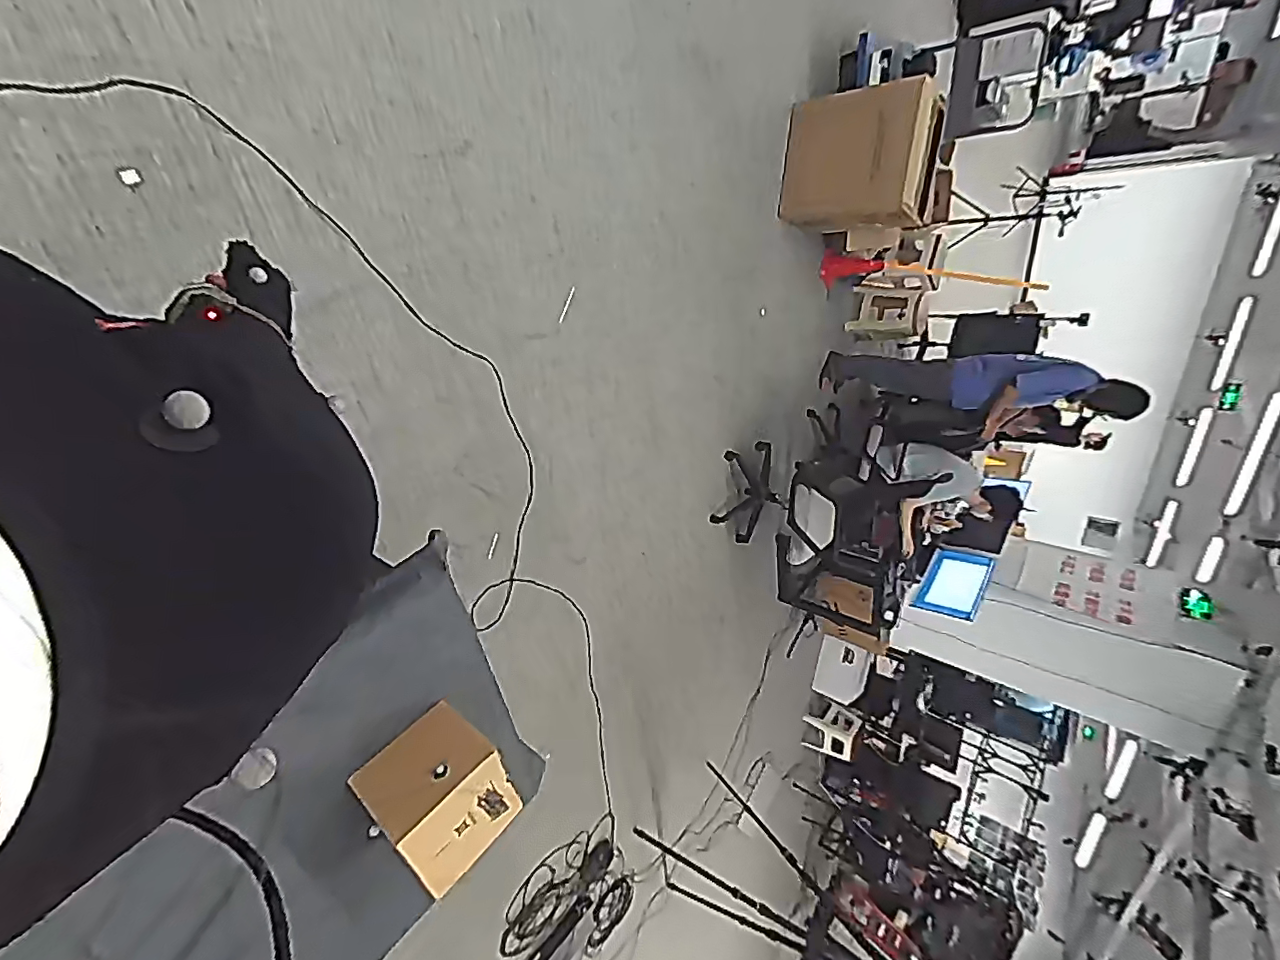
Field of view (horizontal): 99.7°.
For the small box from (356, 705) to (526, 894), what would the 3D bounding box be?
[{"bbox_3d":[-0.325,0.513,0.894,0.179,0.176,0.168,-37,128,-37],"label":"small box"}]
